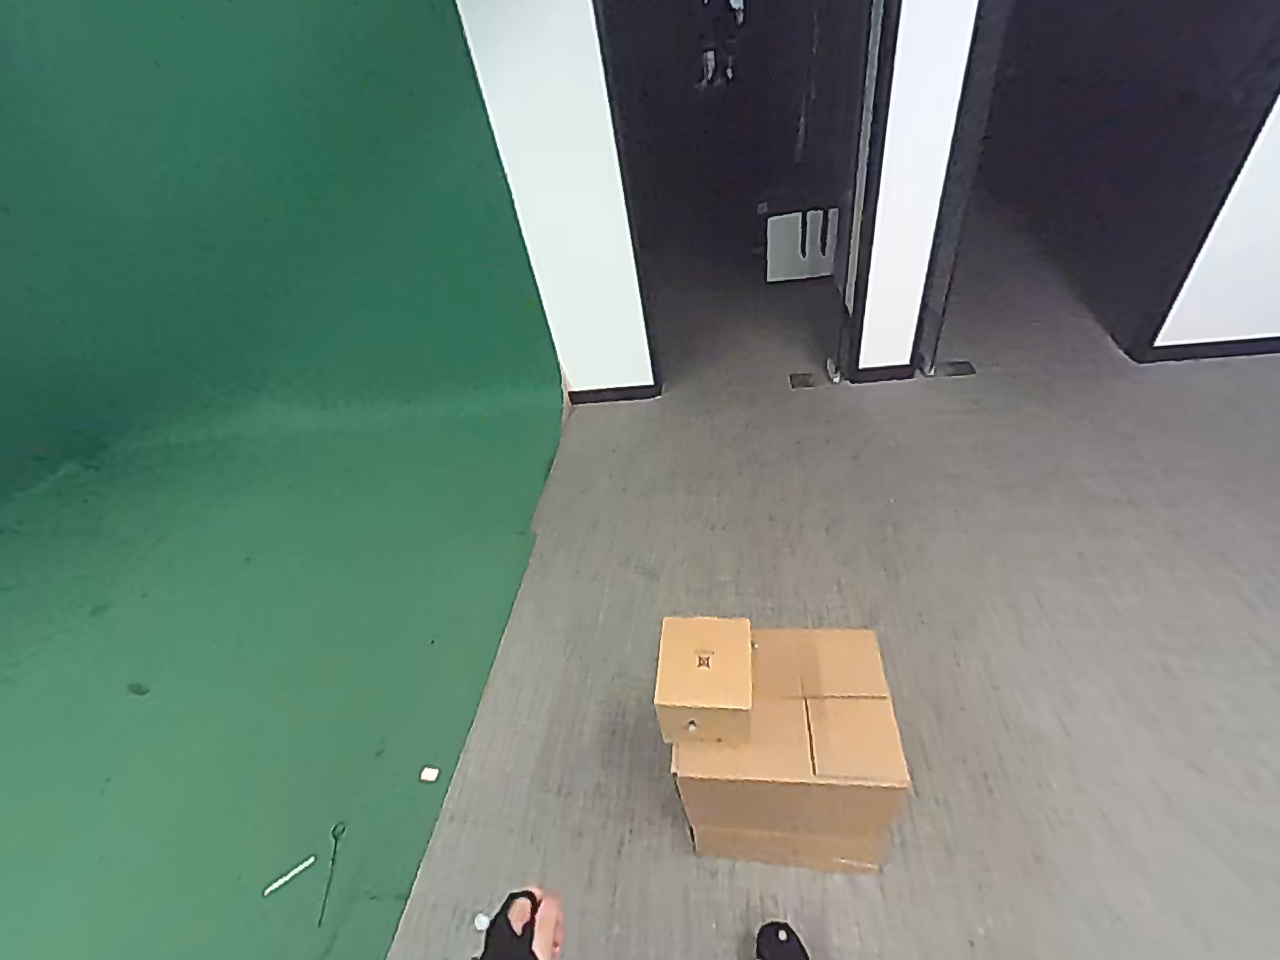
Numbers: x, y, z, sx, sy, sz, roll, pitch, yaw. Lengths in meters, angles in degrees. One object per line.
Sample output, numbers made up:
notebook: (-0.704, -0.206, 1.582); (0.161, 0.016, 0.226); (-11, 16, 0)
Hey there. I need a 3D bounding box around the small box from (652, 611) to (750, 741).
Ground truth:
small box: (0.122, 0.369, 1.016); (0.168, 0.176, 0.179); (0, 43, 11)
